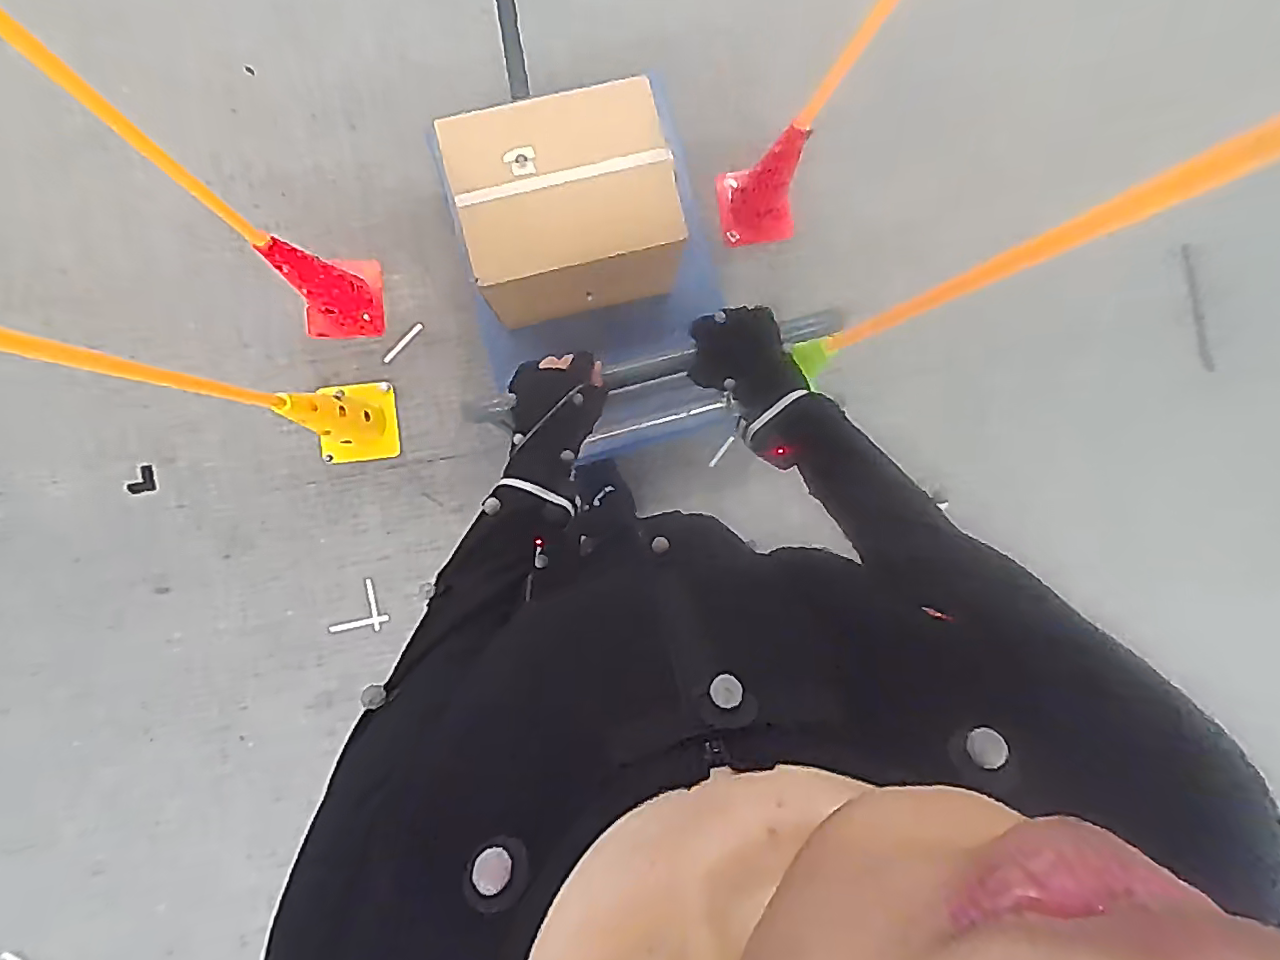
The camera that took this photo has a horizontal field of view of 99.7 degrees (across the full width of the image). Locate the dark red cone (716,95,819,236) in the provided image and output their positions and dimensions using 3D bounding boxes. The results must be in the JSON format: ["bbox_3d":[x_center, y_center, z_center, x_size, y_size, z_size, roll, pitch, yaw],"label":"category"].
[{"bbox_3d":[0.331,-0.766,1.301,0.201,0.394,0.202,-10,91,-5],"label":"dark red cone"}]

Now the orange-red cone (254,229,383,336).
[{"bbox_3d":[-0.766,-0.481,1.250,0.198,0.360,0.199,-3,88,-5],"label":"orange-red cone"}]

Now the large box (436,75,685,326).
[{"bbox_3d":[-0.150,-0.556,1.144,0.408,0.320,0.320,-15,91,-3],"label":"large box"}]

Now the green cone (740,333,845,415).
[{"bbox_3d":[0.395,-0.285,1.320,0.202,0.368,0.200,-6,90,-5],"label":"green cone"}]
